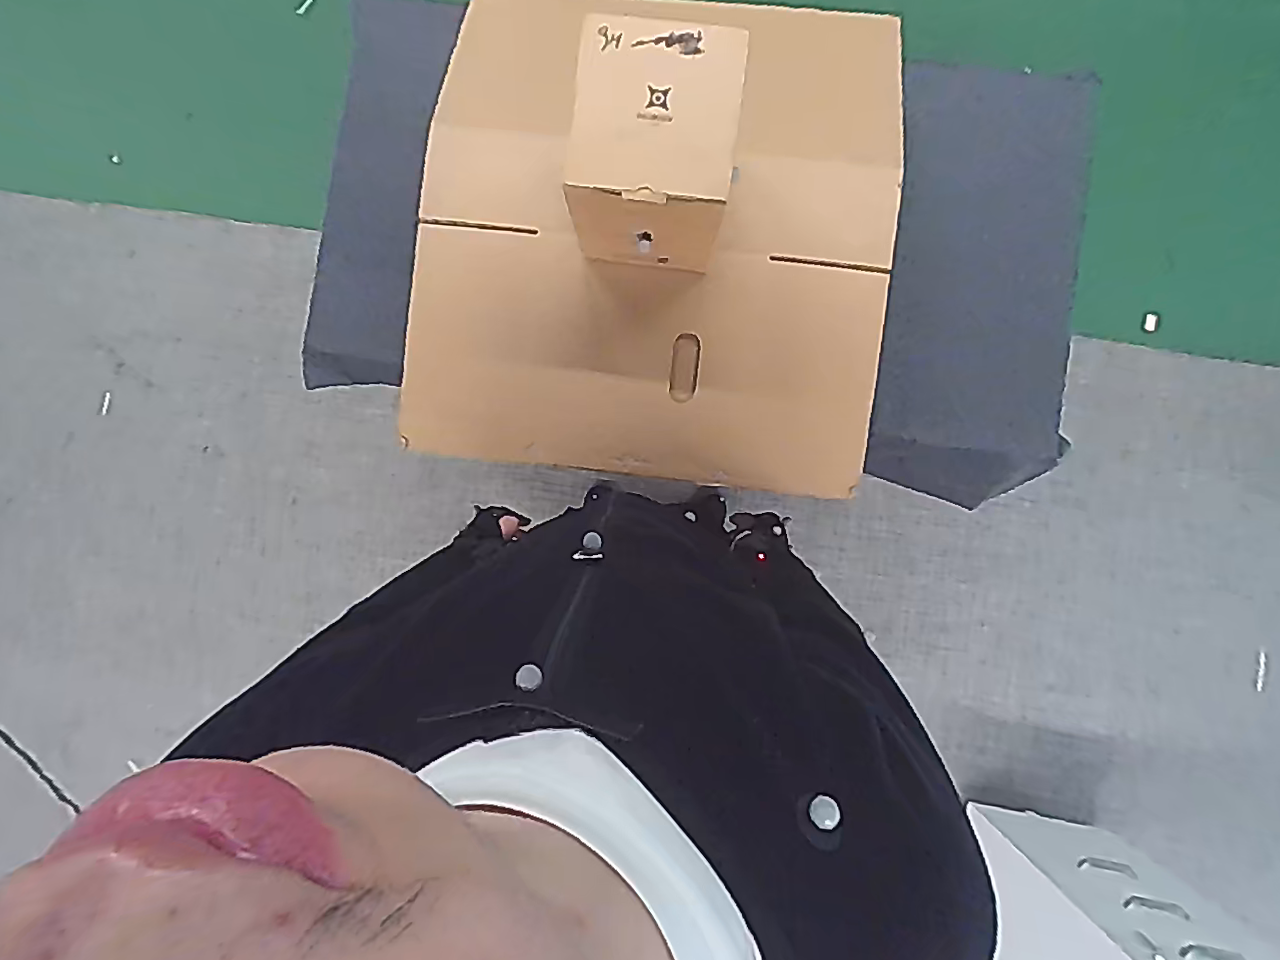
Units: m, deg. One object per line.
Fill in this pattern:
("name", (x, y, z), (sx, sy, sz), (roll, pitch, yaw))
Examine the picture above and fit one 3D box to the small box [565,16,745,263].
("small box", (0.018, -0.364, 0.611), (0.168, 0.176, 0.179), (5, 90, 2))
